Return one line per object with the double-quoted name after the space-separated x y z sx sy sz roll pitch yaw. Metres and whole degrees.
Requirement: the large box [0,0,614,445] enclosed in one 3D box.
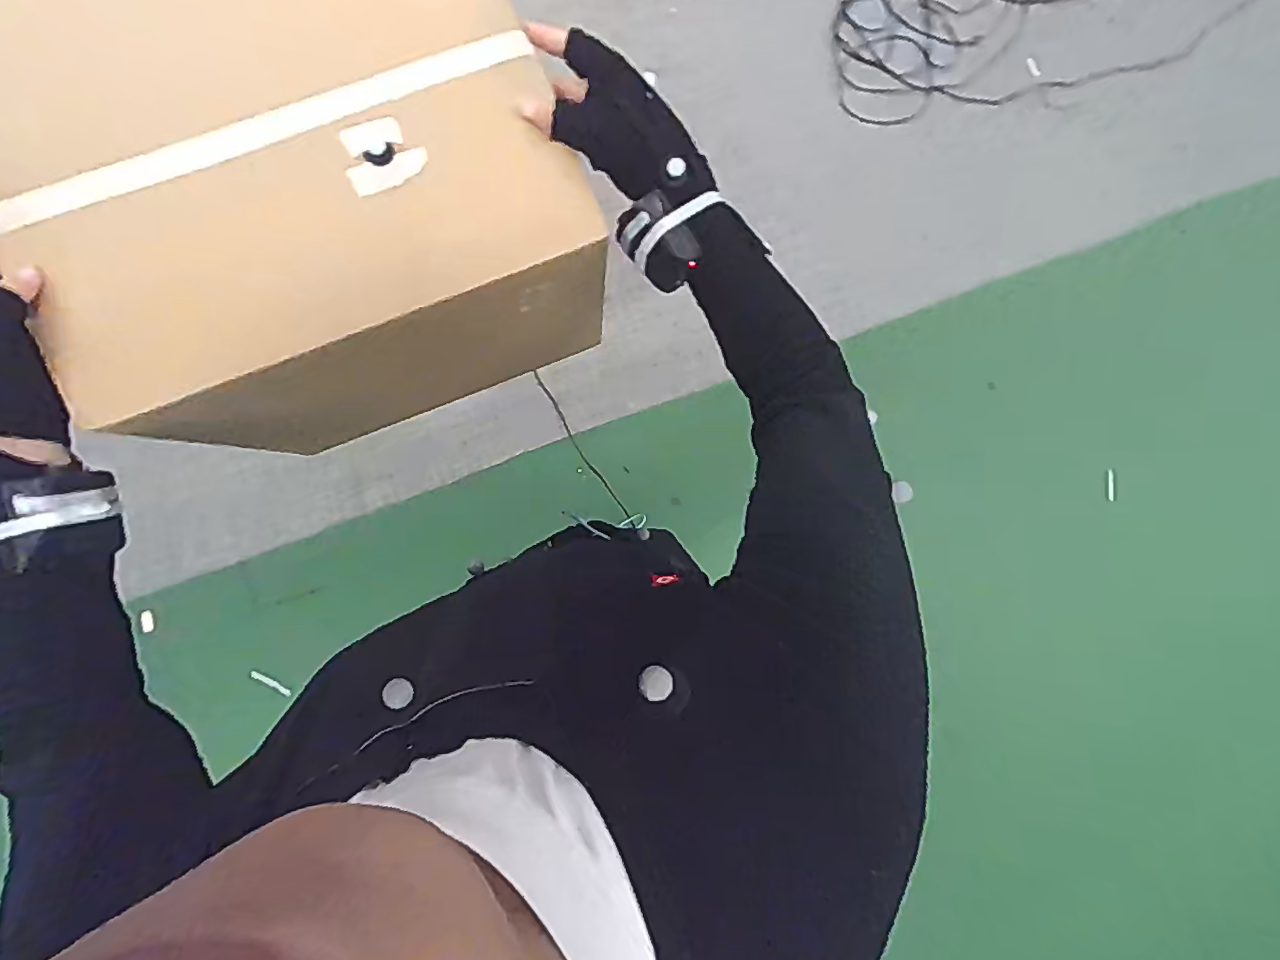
-0.272 -0.261 0.560 0.408 0.320 0.320 -23 92 -5 "large box"
